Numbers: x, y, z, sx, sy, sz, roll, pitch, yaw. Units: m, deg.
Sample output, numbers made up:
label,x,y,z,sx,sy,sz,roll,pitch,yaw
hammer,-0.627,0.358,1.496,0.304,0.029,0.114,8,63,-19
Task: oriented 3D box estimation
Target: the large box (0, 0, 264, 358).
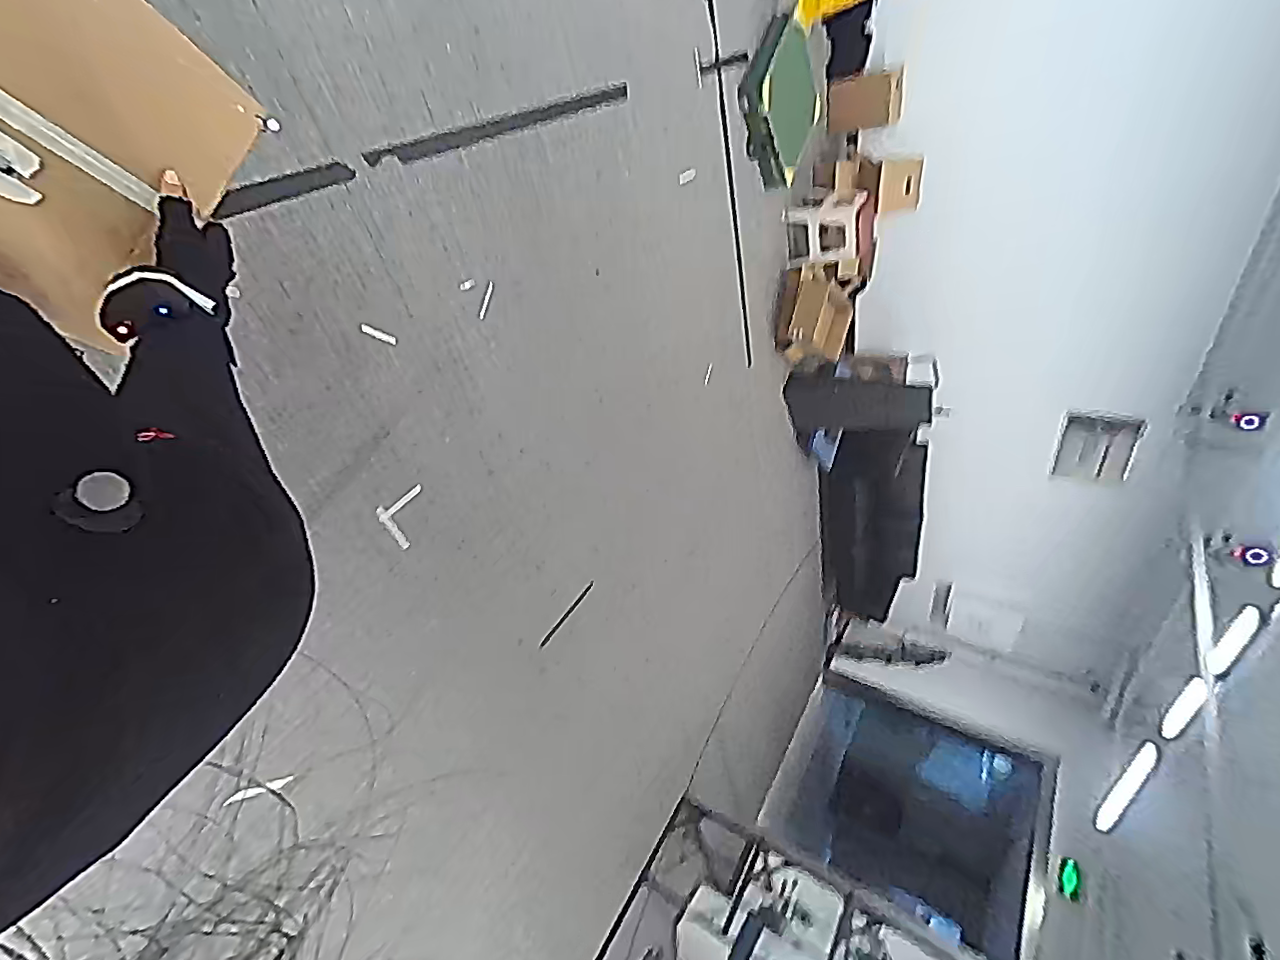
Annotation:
label,x,y,z,sx,sy,sz,roll,pitch,yaw
large box,-0.683,-0.364,0.486,0.320,0.320,0.408,-66,151,-8
